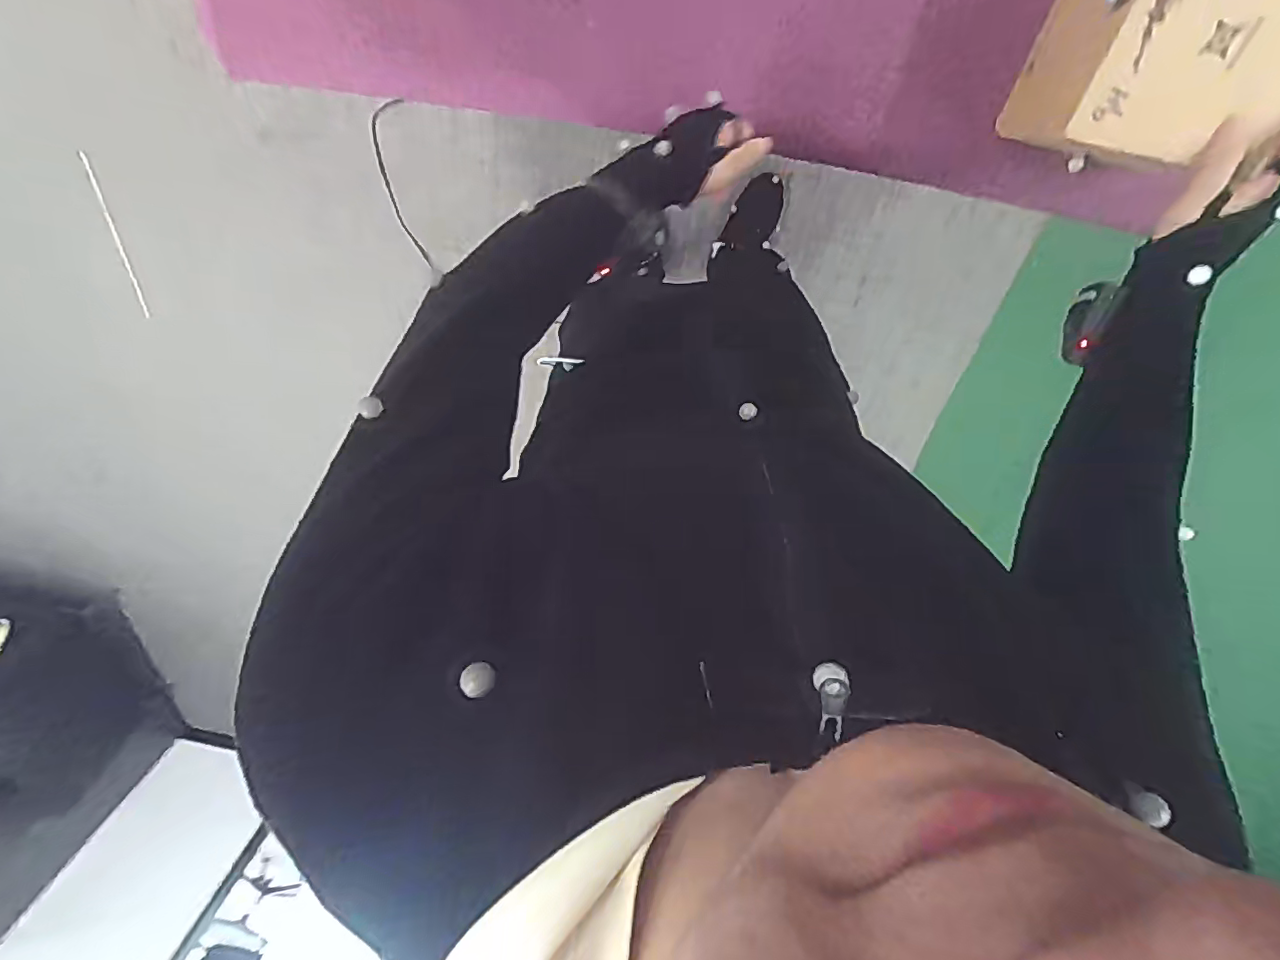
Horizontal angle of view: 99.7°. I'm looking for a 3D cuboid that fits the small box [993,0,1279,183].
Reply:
[{"bbox_3d":[0.487,-0.399,0.507,0.179,0.176,0.168,15,124,0],"label":"small box"}]
